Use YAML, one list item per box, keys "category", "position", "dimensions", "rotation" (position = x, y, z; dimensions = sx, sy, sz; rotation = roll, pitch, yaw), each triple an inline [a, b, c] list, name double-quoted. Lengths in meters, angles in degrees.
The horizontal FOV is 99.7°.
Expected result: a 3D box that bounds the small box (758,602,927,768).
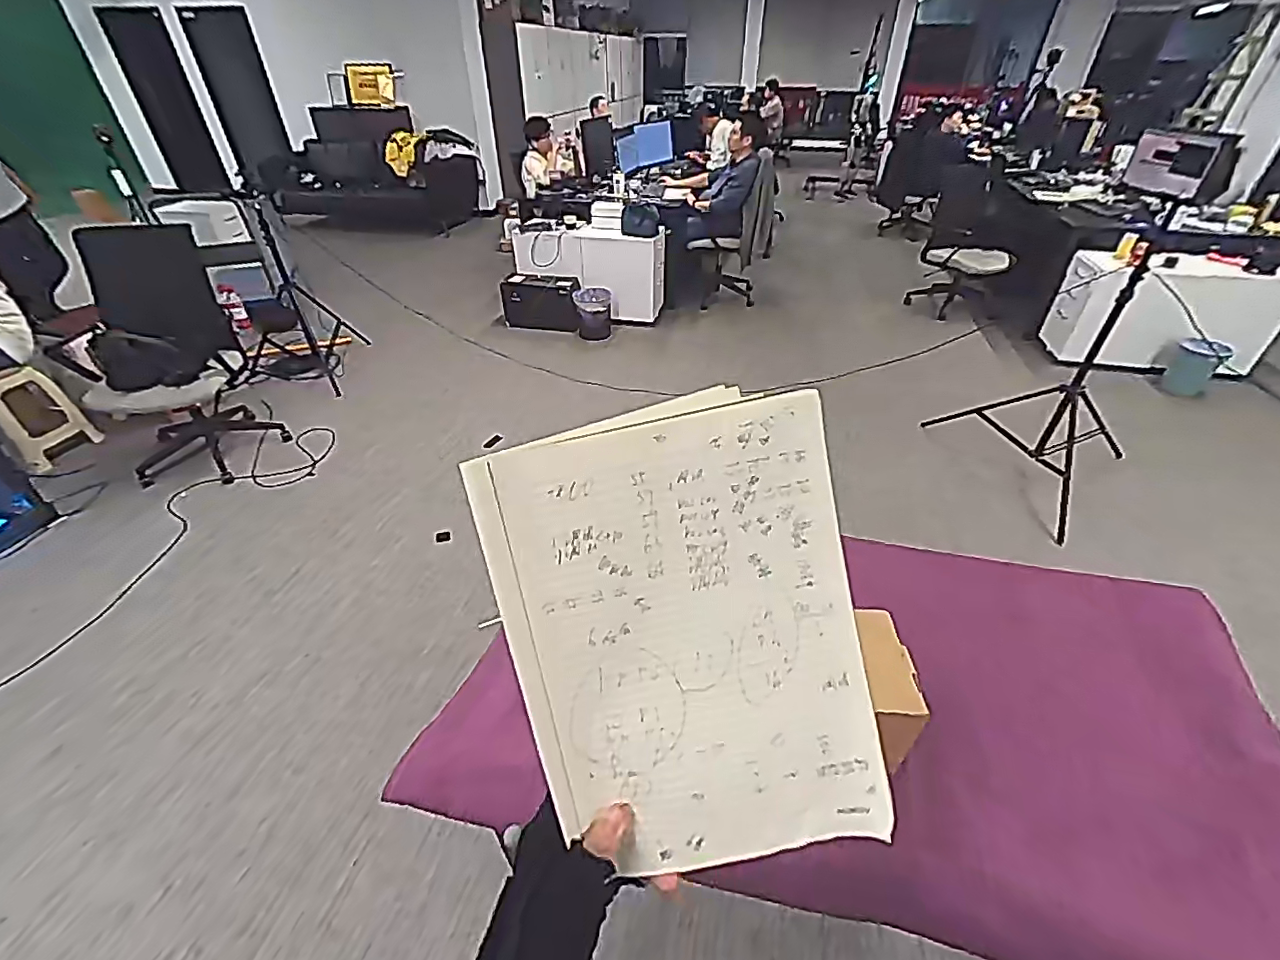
- category: "small box"
  position: [0.282, 0.302, 0.796]
  dimensions: [0.179, 0.176, 0.168]
  rotation: [2, 37, 2]
